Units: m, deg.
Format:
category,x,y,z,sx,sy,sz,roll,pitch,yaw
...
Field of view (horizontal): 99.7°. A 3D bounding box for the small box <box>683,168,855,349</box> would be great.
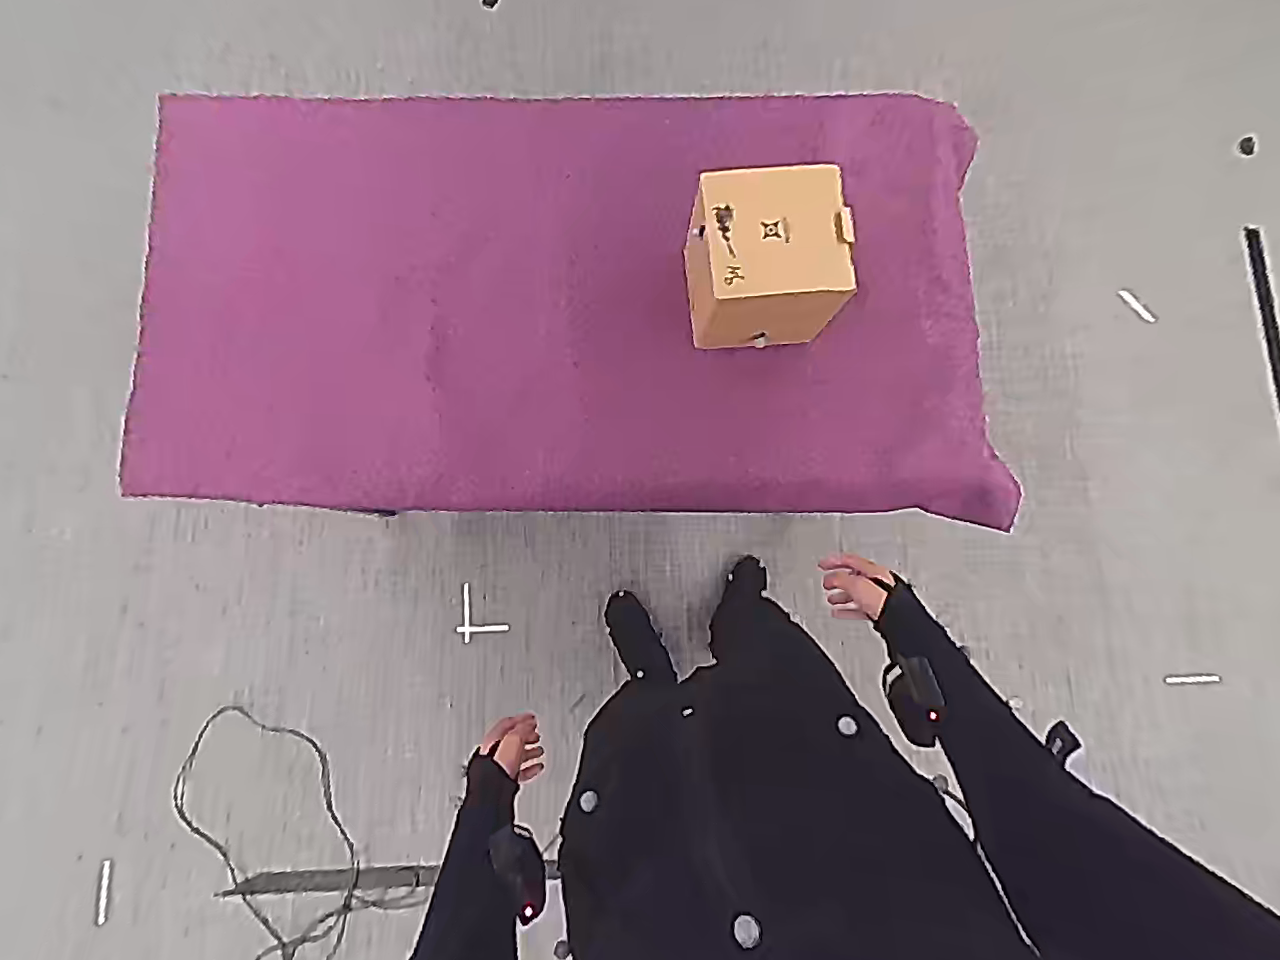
category,x,y,z,sx,sy,sz,roll,pitch,yaw
small box,0.160,-0.287,0.728,0.179,0.176,0.168,-5,82,-3
